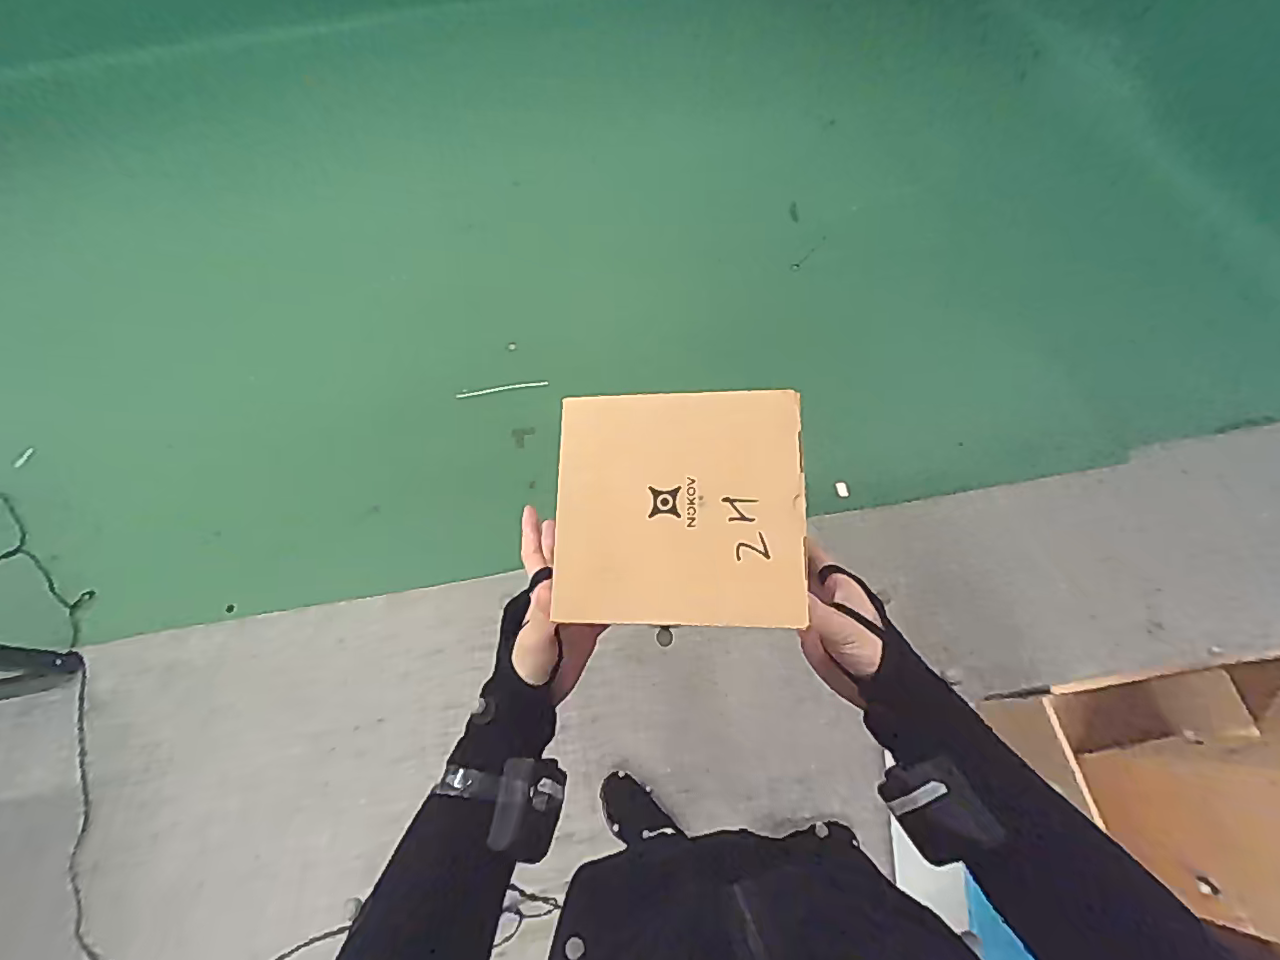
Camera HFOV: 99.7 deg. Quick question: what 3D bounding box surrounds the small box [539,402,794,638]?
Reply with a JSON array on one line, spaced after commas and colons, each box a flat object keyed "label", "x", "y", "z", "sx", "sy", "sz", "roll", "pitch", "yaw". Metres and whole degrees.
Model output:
[{"label": "small box", "x": 0.029, "y": 0.043, "z": 0.458, "sx": 0.179, "sy": 0.176, "sz": 0.168, "roll": -1, "pitch": 77, "yaw": 8}]

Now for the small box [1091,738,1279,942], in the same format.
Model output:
[{"label": "small box", "x": 0.736, "y": 0.433, "z": 0.683, "sx": 0.168, "sy": 0.176, "sz": 0.179, "roll": -9, "pitch": 67, "yaw": -3}]
